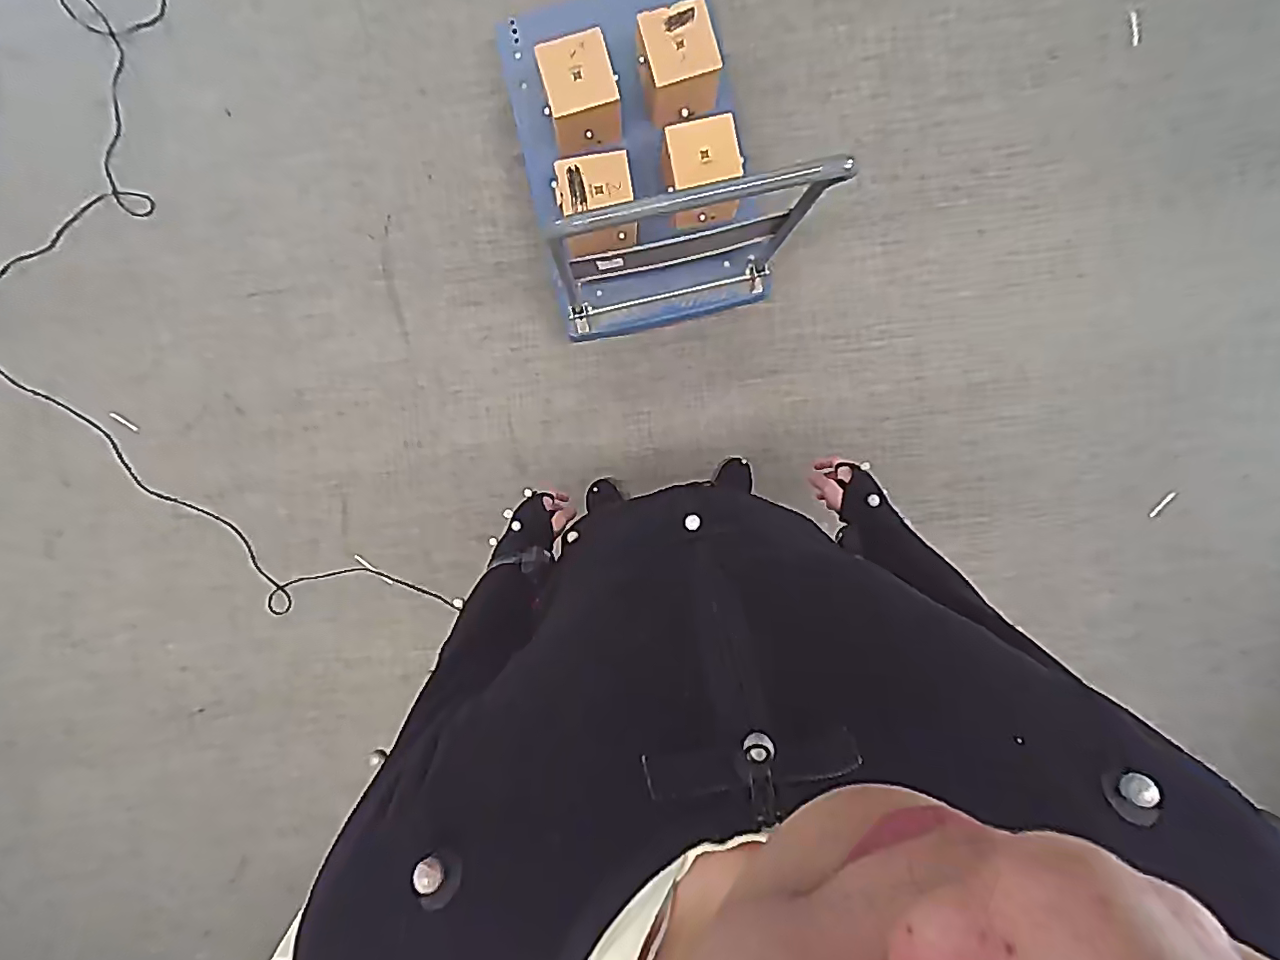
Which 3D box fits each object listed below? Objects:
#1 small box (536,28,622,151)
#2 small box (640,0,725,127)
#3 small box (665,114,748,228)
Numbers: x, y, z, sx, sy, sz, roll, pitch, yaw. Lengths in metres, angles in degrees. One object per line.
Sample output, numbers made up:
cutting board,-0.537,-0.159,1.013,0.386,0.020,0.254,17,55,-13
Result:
small box,-0.143,-0.958,1.348,0.168,0.176,0.179,-16,92,0
small box,0.099,-1.030,1.344,0.168,0.176,0.179,-16,93,2
small box,0.159,-0.766,1.355,0.168,0.176,0.179,-12,92,0
